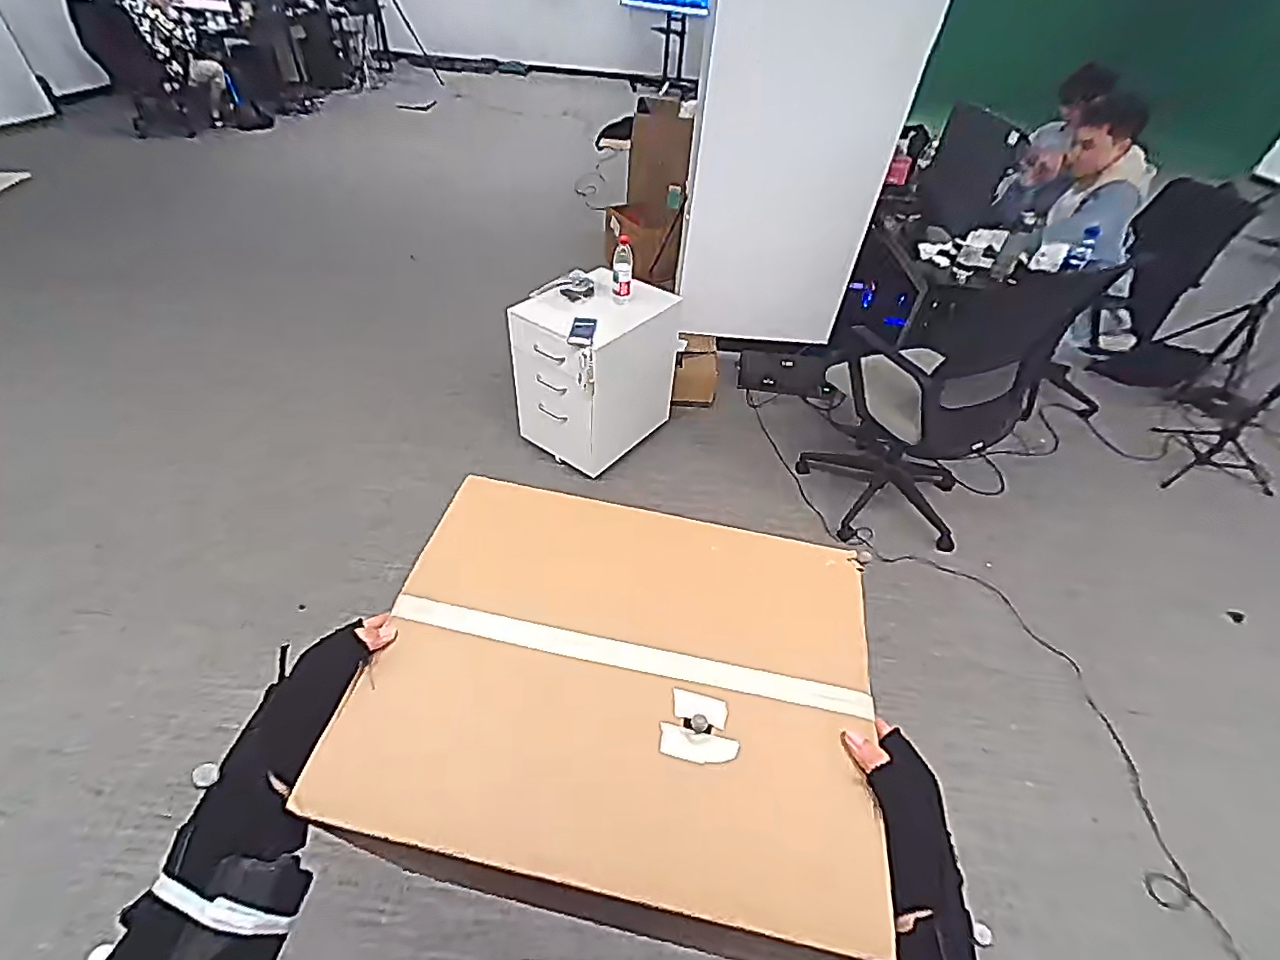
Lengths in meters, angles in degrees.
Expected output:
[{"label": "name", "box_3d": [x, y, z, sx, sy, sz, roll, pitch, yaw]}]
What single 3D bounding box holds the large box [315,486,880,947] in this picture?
[{"label": "large box", "box_3d": [-0.023, 0.250, 0.574, 0.408, 0.320, 0.320, 12, 49, 4]}]
